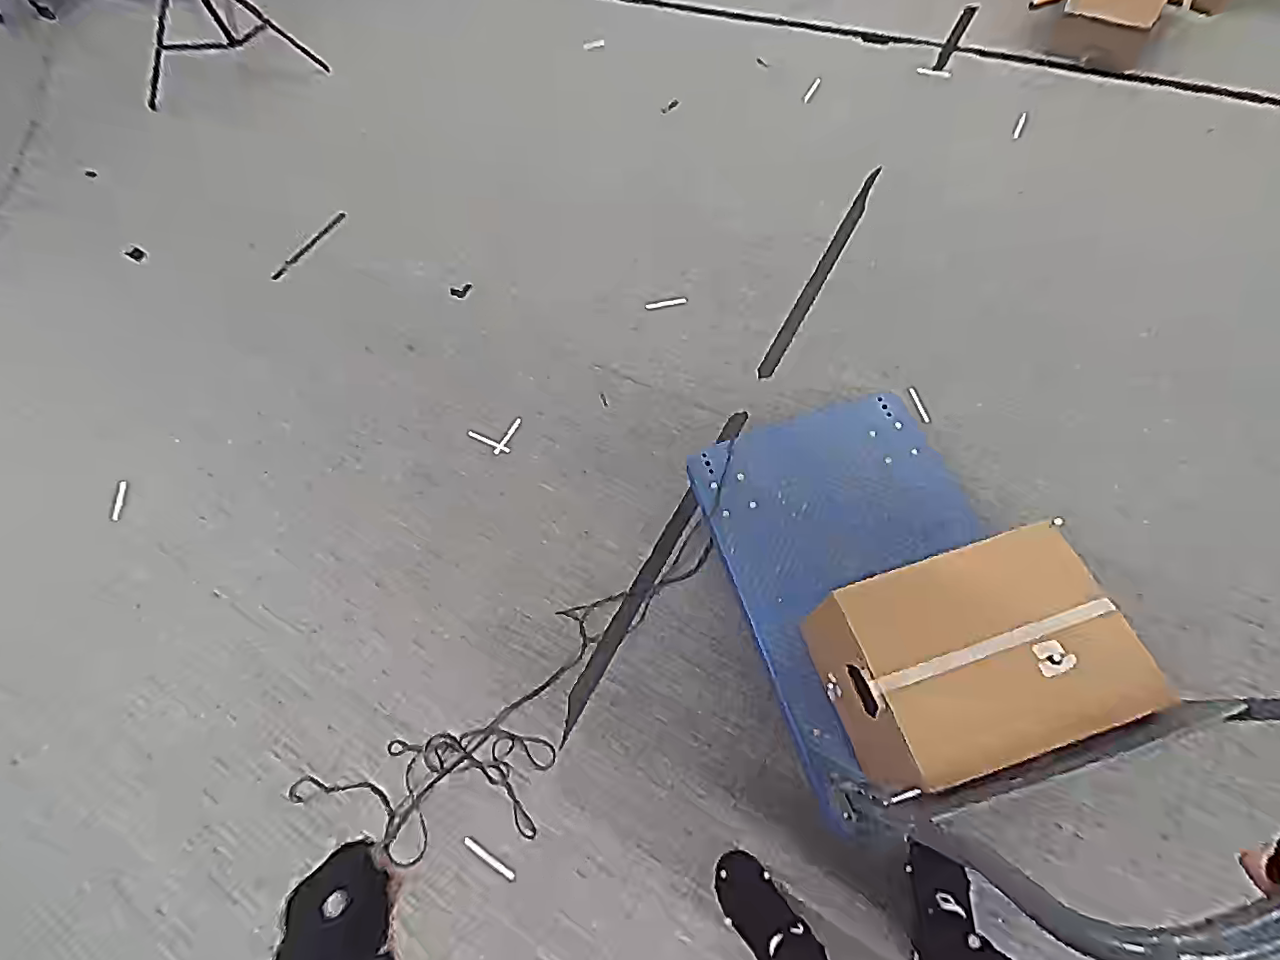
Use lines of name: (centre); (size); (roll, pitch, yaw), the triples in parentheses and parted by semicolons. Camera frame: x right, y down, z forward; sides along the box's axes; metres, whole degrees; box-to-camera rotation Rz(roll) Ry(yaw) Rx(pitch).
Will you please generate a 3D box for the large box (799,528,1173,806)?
large box: (0.558, 0.336, 0.972); (0.408, 0.320, 0.320); (-18, 65, -4)
